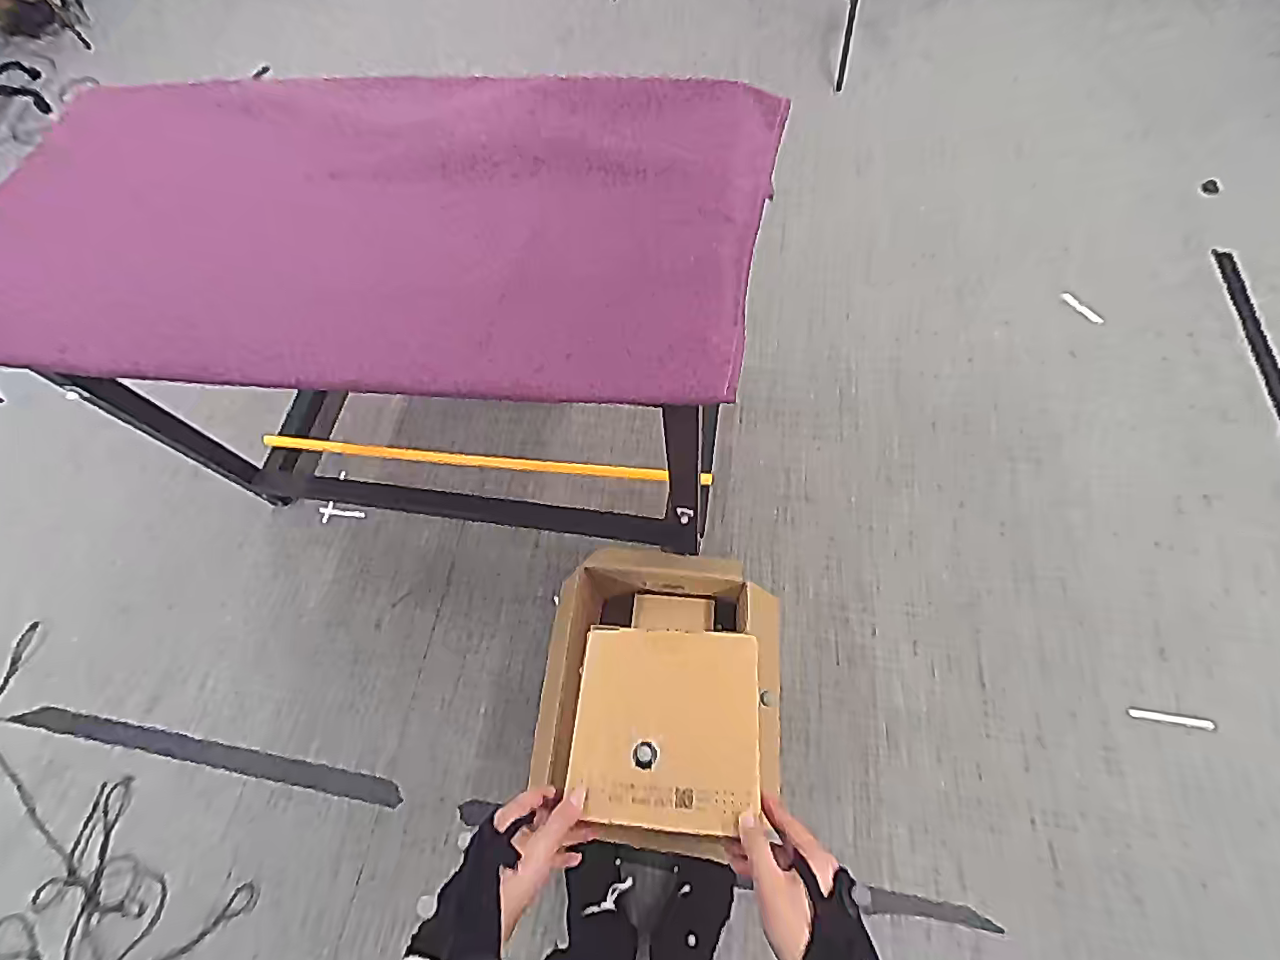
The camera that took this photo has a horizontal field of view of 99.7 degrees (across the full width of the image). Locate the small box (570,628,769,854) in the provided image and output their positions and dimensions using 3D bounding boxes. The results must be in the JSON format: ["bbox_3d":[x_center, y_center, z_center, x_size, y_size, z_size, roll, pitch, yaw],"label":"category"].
[{"bbox_3d":[0.039,0.261,0.537,0.168,0.179,0.176,-2,54,12],"label":"small box"}]
